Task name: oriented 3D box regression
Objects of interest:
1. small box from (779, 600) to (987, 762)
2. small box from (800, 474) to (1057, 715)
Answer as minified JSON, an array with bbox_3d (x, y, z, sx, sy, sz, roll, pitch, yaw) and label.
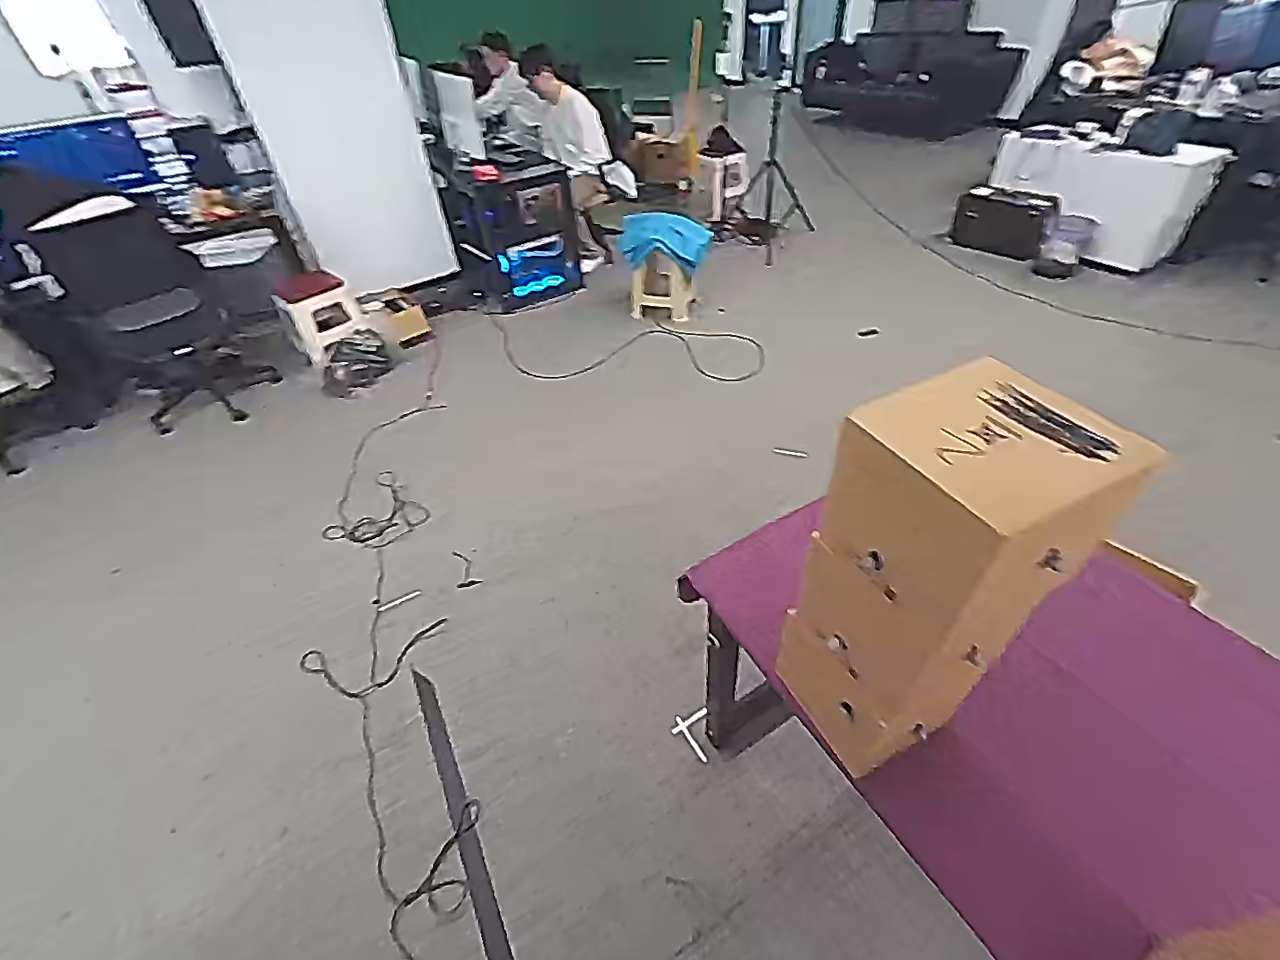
[{"bbox_3d":[0.309,0.249,0.728,0.168,0.176,0.179,-22,45,-16],"label":"small box"},{"bbox_3d":[0.306,0.128,0.616,0.179,0.176,0.168,-23,46,-16],"label":"small box"}]
